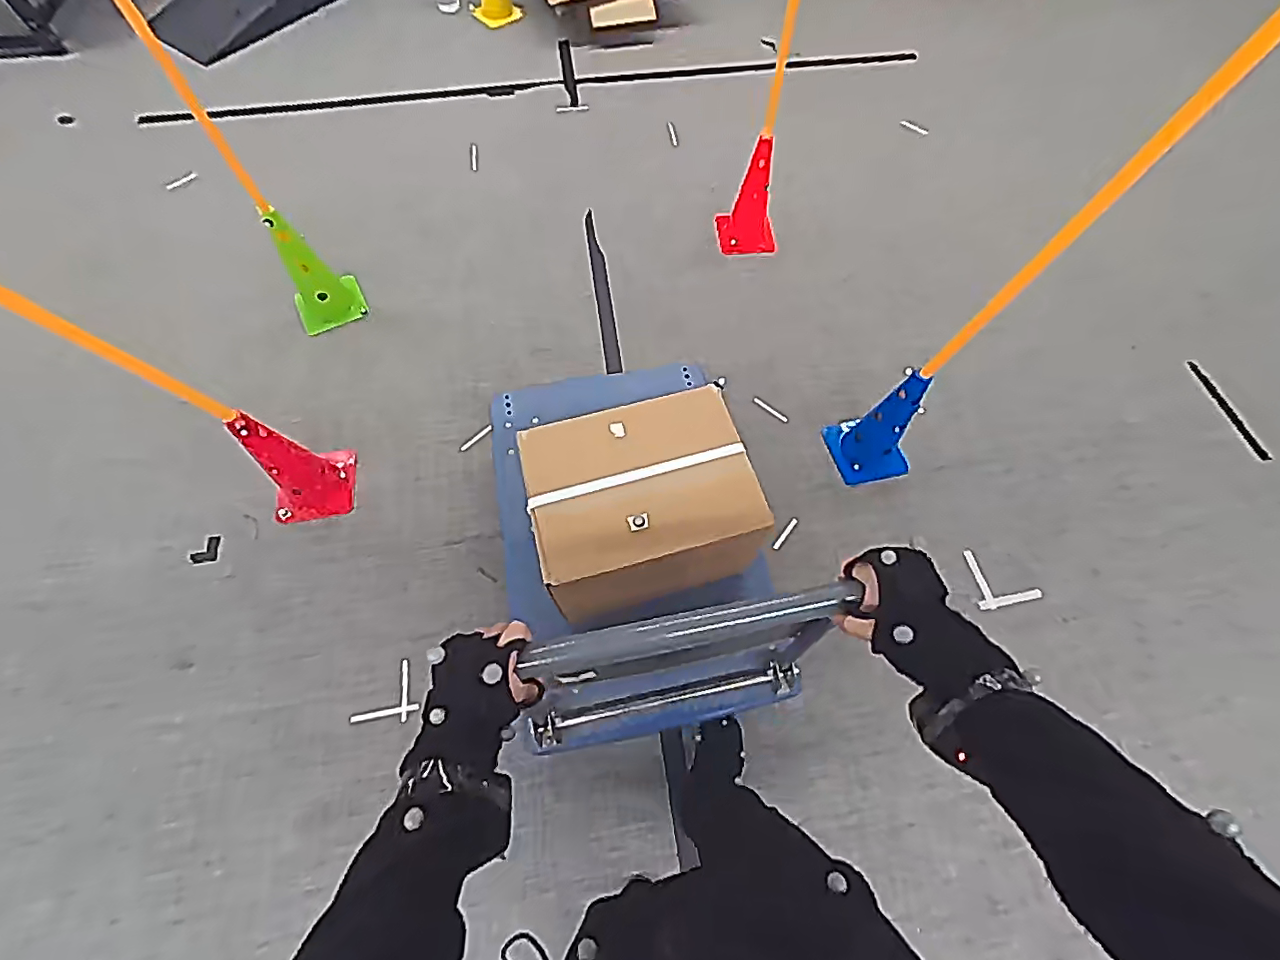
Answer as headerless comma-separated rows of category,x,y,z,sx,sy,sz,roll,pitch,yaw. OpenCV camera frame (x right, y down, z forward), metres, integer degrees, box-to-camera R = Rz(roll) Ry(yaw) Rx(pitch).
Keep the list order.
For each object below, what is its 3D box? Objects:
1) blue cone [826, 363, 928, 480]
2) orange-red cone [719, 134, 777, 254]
blue cone,0.658,-0.166,1.425,0.193,0.380,0.192,-11,64,-7
orange-red cone,0.391,-0.957,1.789,0.199,0.360,0.198,-1,65,-3
